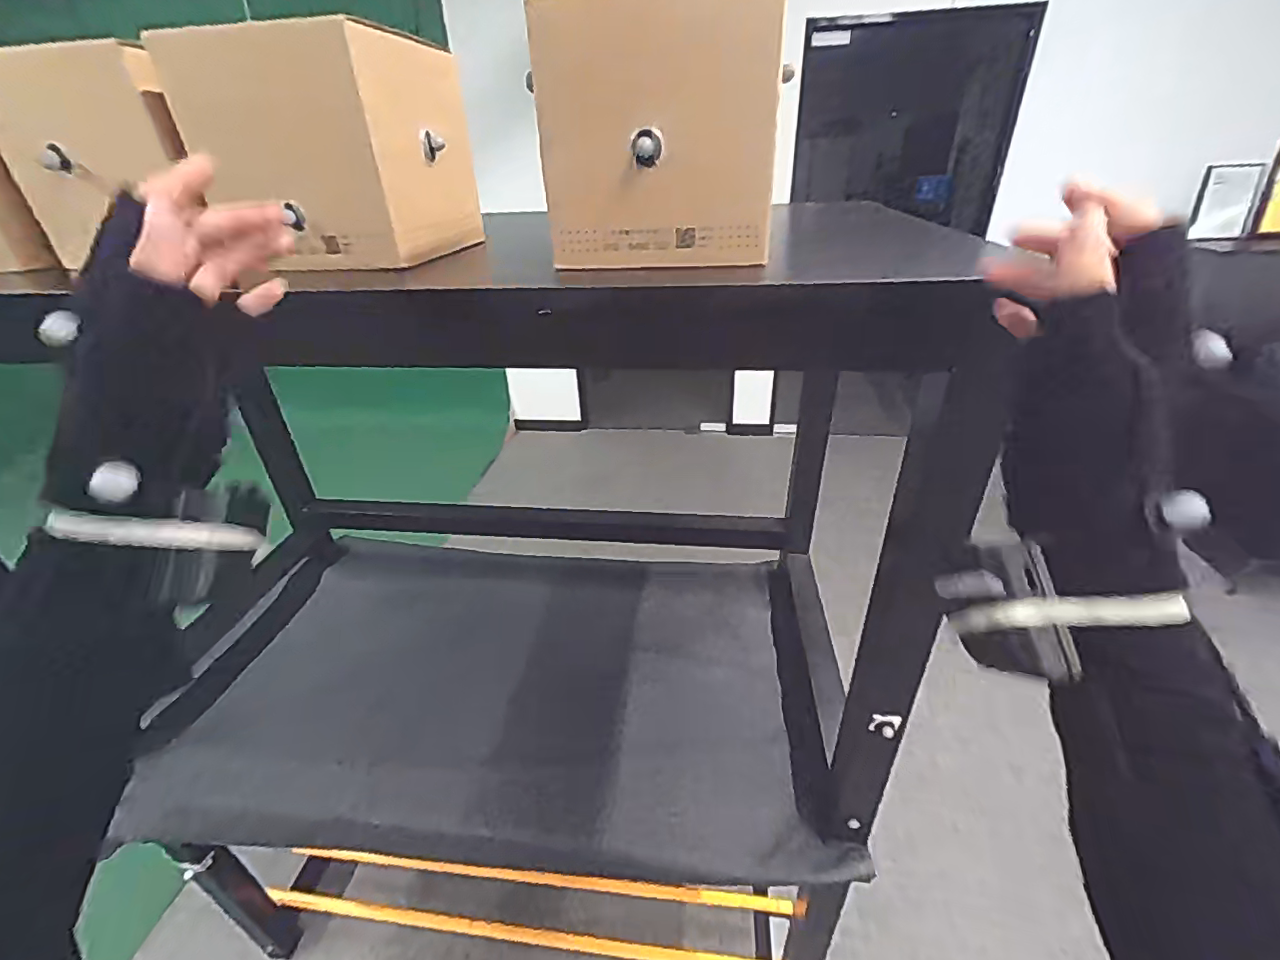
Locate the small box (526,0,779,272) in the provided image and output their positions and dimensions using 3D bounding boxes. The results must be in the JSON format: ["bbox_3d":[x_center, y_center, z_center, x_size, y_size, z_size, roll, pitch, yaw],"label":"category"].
[{"bbox_3d":[0.021,-0.273,0.448,0.168,0.176,0.179,2,31,8],"label":"small box"}]

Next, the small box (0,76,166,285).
[{"bbox_3d":[-0.651,-0.308,0.559,0.168,0.176,0.179,3,32,8],"label":"small box"}]
